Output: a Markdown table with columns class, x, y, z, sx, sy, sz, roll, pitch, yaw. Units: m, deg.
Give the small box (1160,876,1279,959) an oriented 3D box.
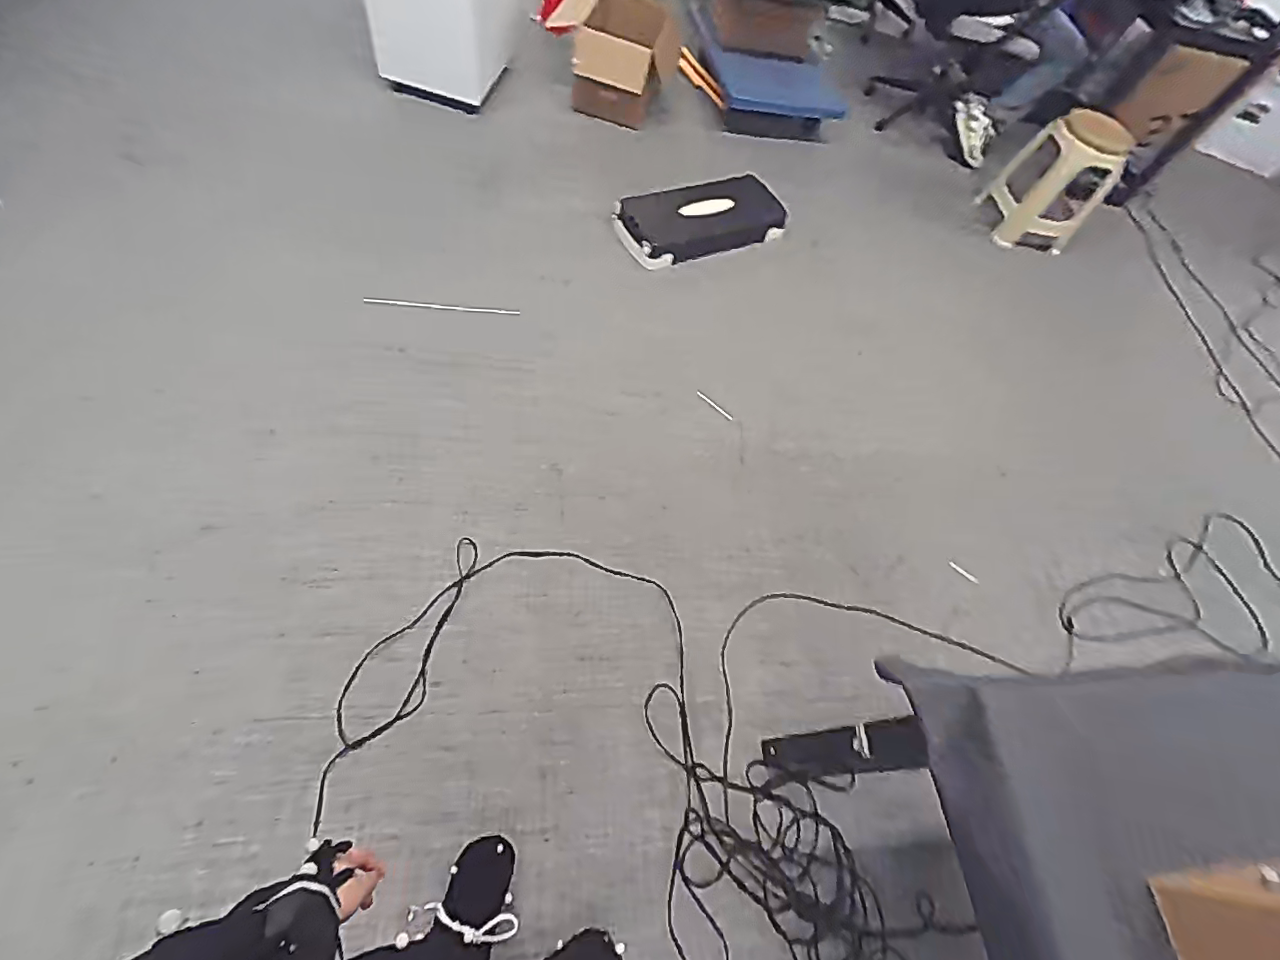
| class | x | y | z | sx | sy | sz | roll | pitch | yaw |
| --- | --- | --- | --- | --- | --- | --- | --- | --- | --- |
| small box | 0.632 | 0.467 | 0.474 | 0.168 | 0.176 | 0.179 | 2 | 62 | -10 |
